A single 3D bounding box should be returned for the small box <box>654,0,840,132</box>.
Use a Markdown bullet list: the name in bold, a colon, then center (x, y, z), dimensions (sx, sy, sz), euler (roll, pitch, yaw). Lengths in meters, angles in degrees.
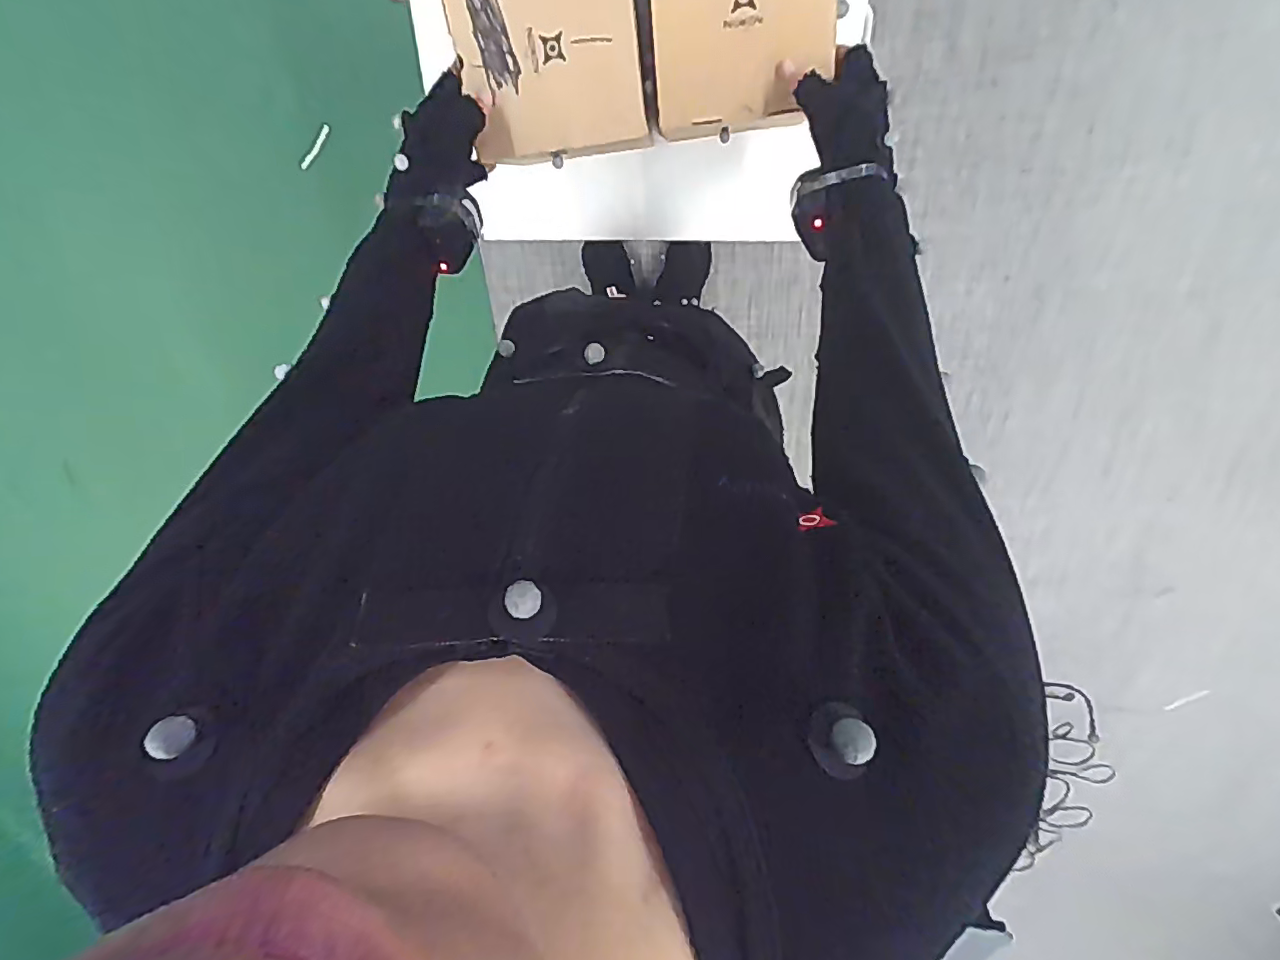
- **small box**: center (0.099, -0.466, 0.545), dimensions (0.168, 0.176, 0.179), euler (-2, 120, 7)
